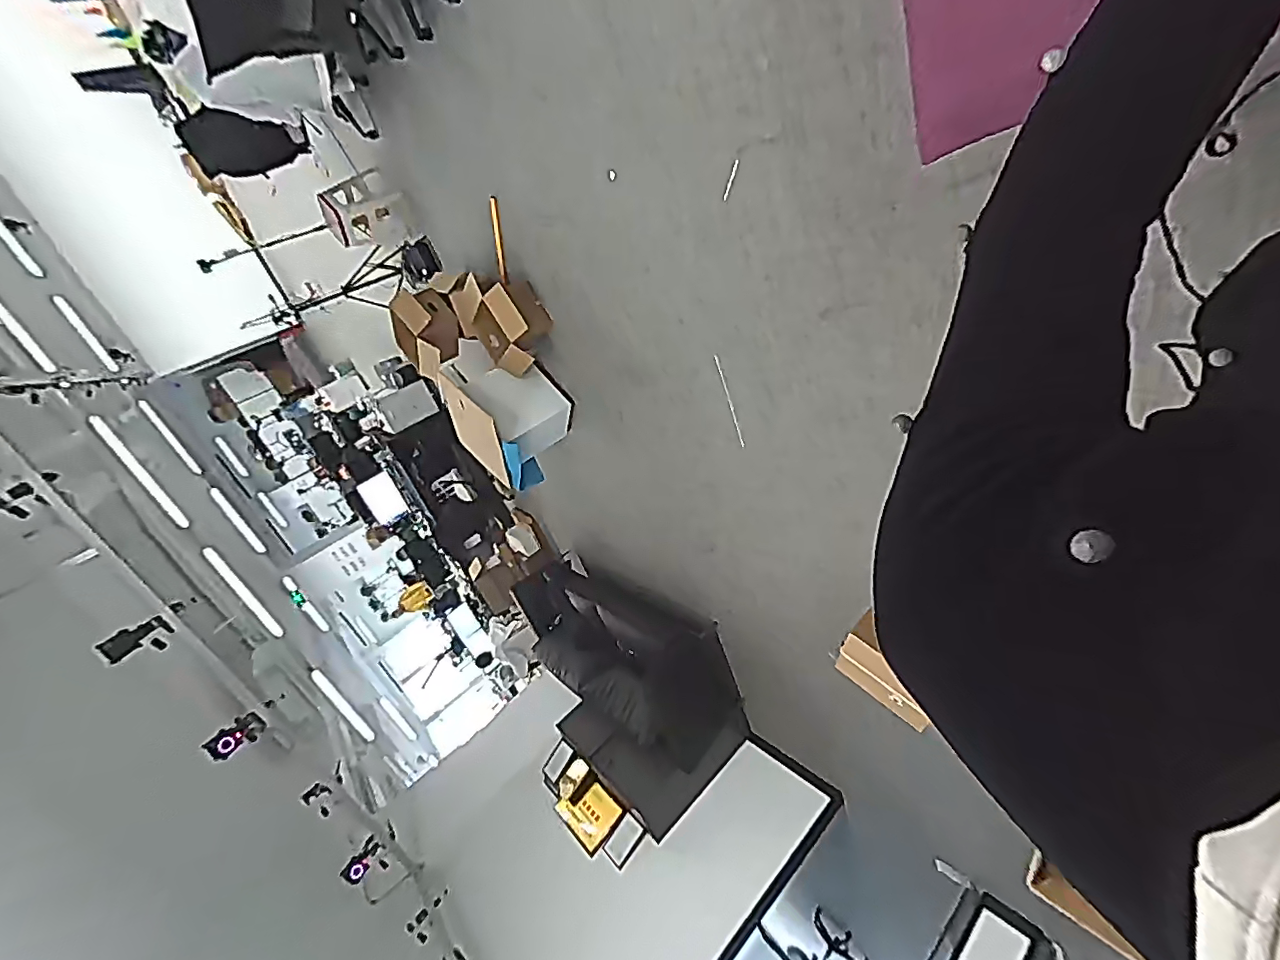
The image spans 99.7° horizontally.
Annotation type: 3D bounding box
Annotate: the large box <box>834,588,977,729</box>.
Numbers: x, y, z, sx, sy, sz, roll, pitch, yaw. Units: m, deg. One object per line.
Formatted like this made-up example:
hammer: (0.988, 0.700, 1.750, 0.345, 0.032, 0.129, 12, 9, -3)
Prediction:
large box: (1.093, 0.735, 2.260, 0.408, 0.320, 0.320, 34, 147, 32)
